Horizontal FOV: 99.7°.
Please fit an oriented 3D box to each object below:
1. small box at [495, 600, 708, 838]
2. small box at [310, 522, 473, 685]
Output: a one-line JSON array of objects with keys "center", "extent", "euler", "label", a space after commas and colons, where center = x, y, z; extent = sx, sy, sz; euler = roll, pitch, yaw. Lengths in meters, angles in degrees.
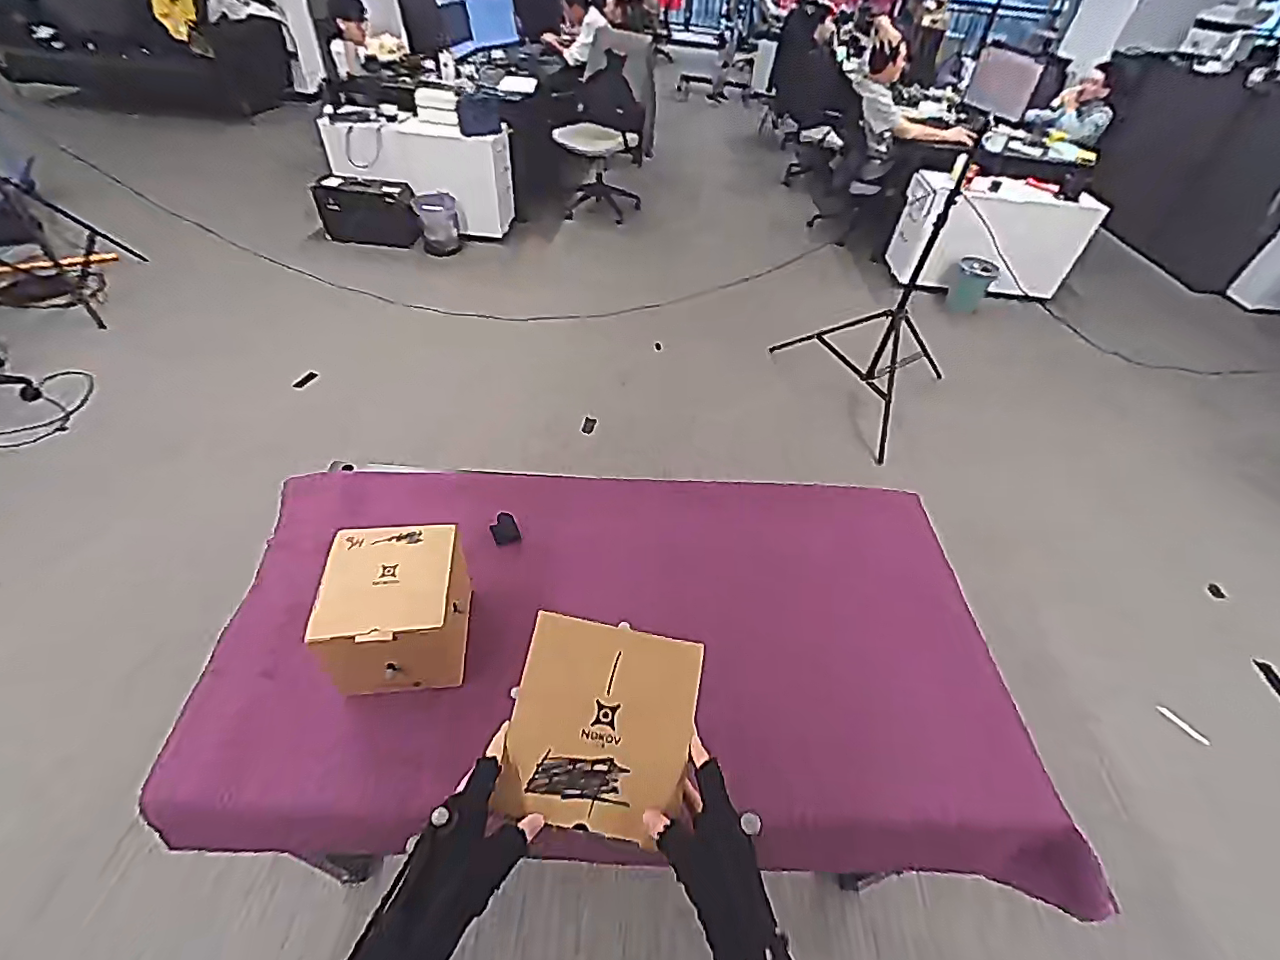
[{"center": [-0.035, 0.240, 0.570], "extent": [0.168, 0.176, 0.179], "euler": [12, 69, 0], "label": "small box"}, {"center": [-0.342, 0.183, 0.786], "extent": [0.168, 0.176, 0.179], "euler": [-2, 47, -9], "label": "small box"}]
